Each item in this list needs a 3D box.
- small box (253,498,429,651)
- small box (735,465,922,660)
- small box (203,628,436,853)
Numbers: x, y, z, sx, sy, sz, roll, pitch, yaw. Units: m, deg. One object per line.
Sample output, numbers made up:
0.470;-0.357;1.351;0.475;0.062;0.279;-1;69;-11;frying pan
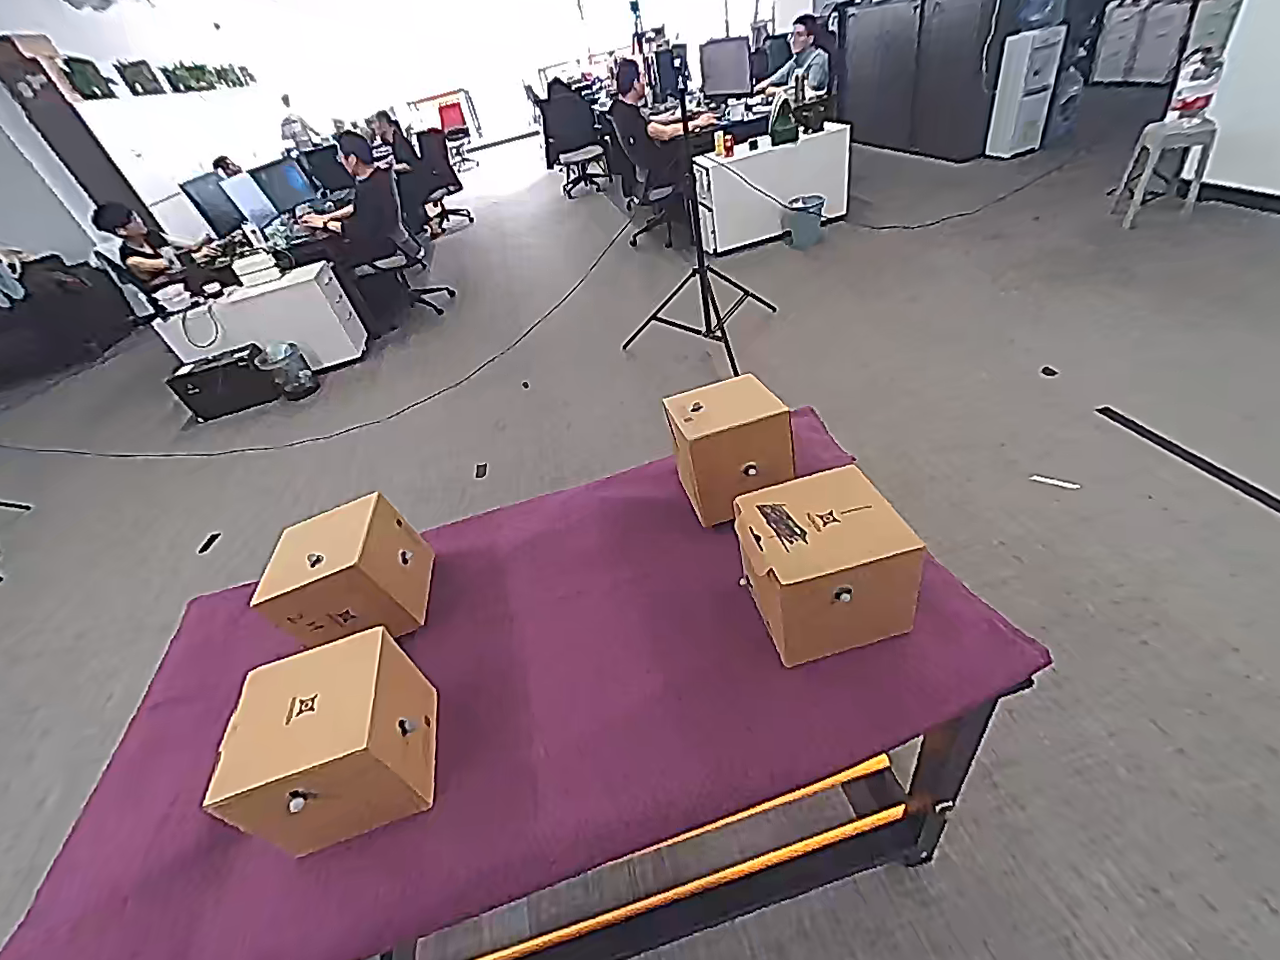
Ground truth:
-0.460;0.156;0.869;0.179;0.168;0.176;-21;38;4;small box
0.241;0.111;0.718;0.179;0.176;0.168;-16;38;-1;small box
-0.369;0.320;0.668;0.179;0.176;0.168;-19;39;-5;small box
